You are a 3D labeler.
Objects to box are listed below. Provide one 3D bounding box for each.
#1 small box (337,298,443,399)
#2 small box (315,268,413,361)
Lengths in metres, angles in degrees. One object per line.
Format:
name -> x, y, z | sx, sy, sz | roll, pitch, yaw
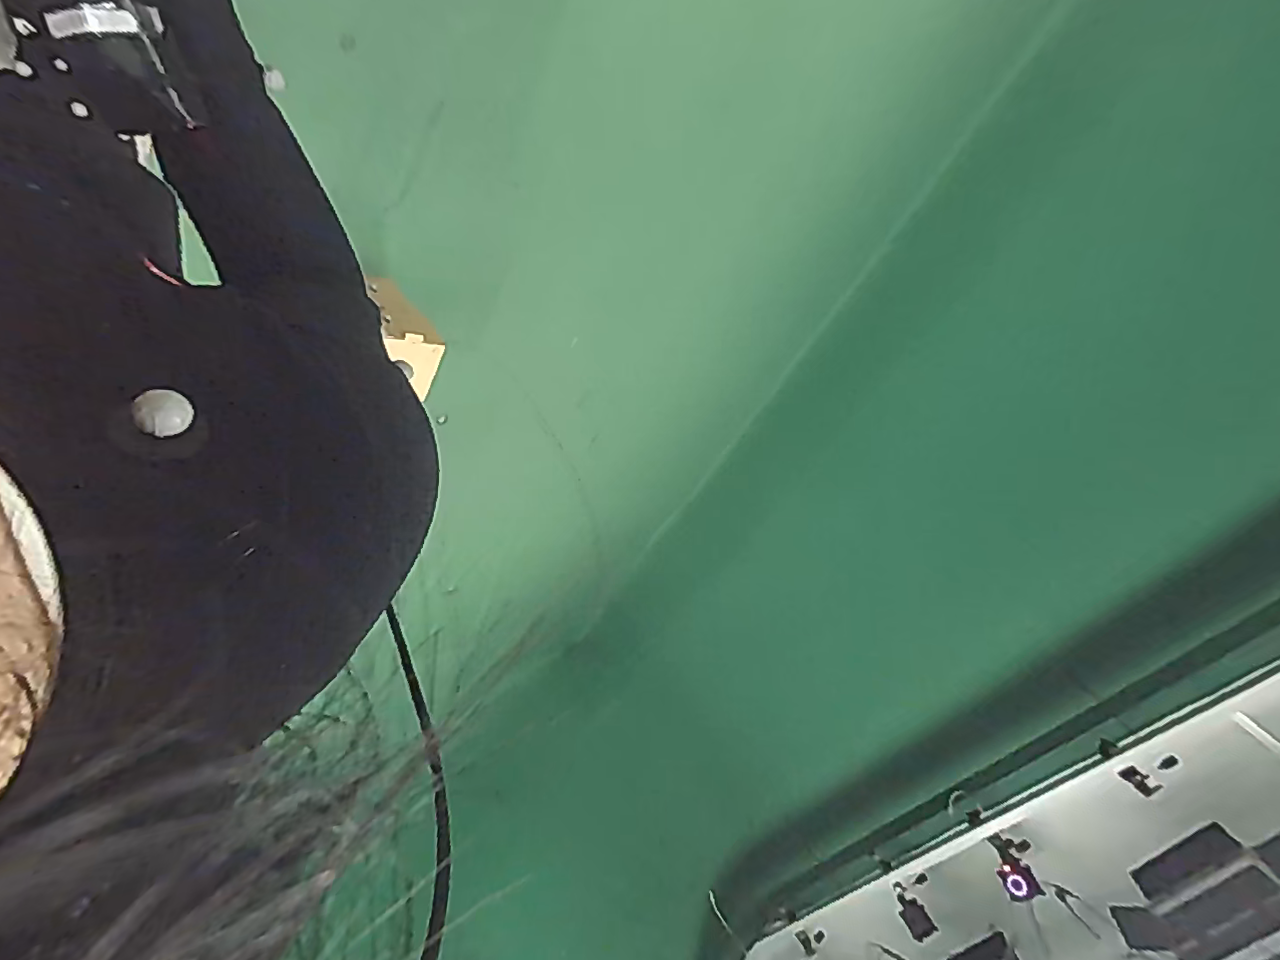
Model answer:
small box -> -0.629, -0.327, 1.350 | 0.168, 0.176, 0.179 | -5, 138, -51
small box -> -0.732, -0.429, 1.424 | 0.168, 0.176, 0.179 | -7, 139, -49
